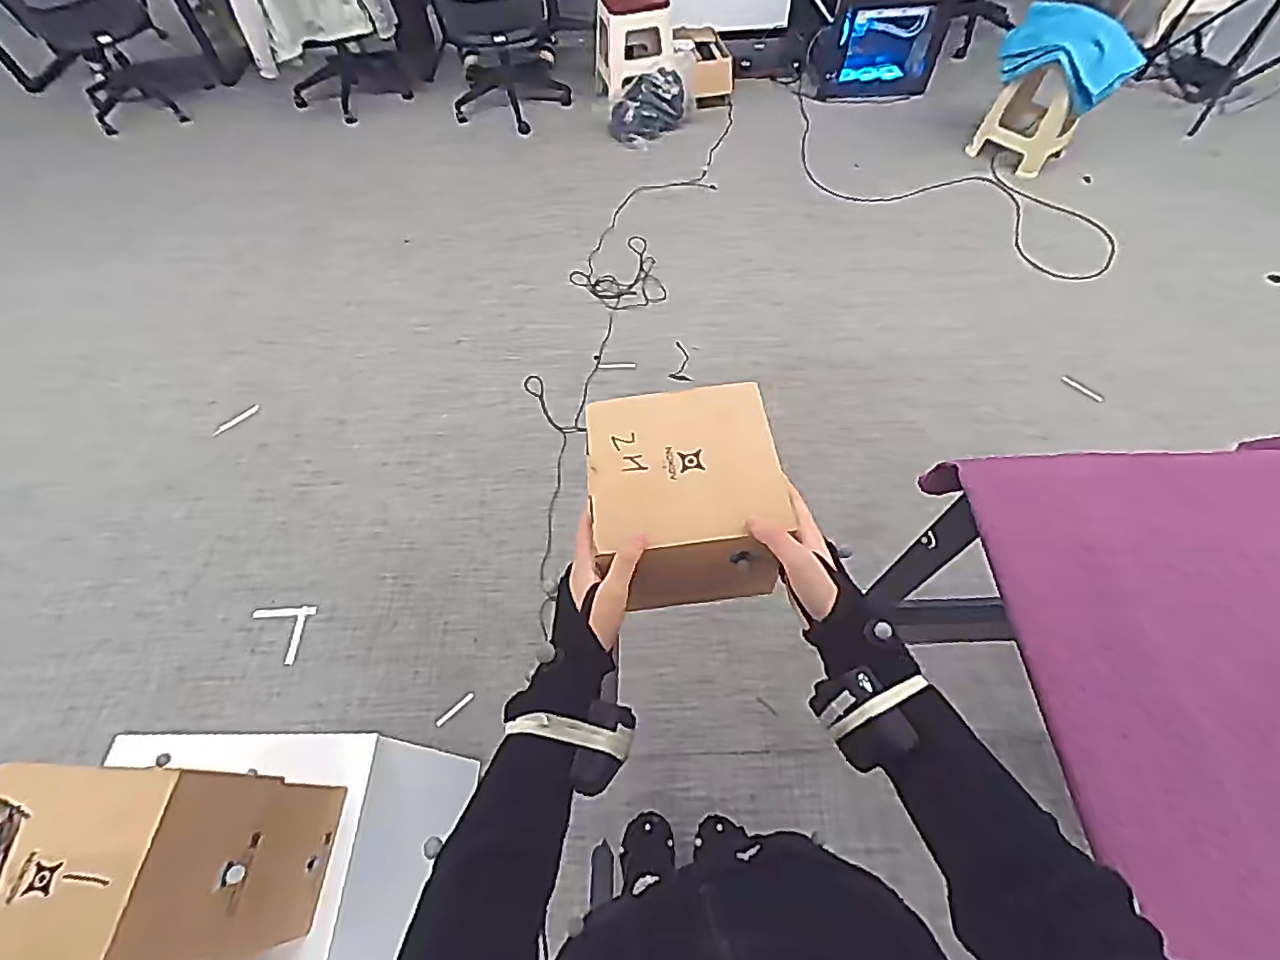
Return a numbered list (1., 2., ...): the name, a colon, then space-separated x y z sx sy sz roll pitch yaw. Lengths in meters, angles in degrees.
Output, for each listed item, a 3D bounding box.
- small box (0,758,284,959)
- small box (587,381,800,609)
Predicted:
1. small box: -0.497 0.369 0.519 0.179 0.176 0.168 1 60 1
2. small box: 0.046 0.023 0.558 0.179 0.176 0.168 -7 59 1
